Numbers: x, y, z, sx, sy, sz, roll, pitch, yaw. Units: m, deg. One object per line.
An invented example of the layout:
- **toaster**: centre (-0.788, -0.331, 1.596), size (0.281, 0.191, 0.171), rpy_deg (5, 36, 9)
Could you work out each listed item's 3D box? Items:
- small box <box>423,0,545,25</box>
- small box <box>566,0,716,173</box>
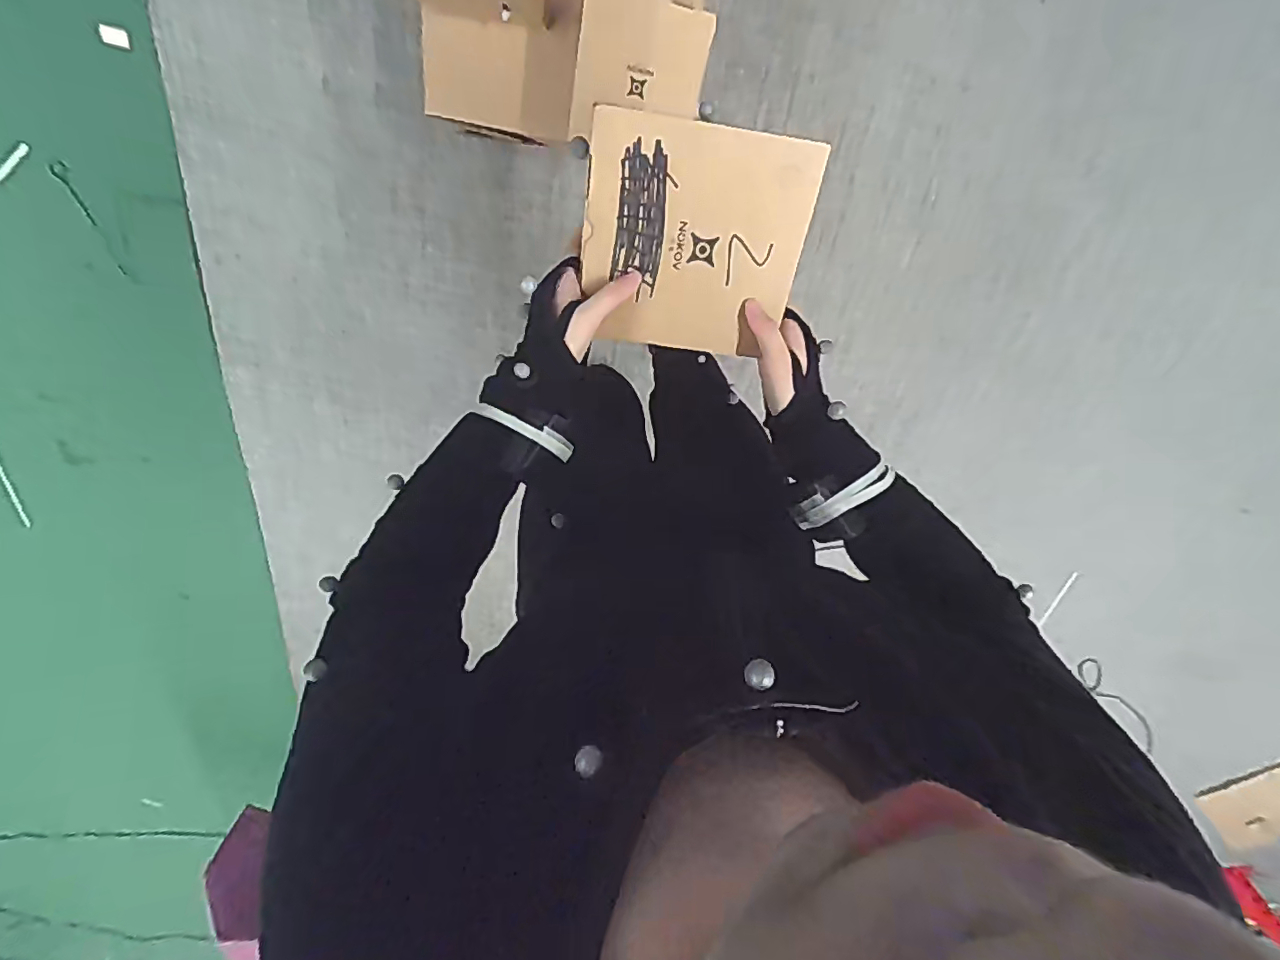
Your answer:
- **small box**: centre (-0.212, -0.711, 0.685), size (0.179, 0.176, 0.168), rpy_deg (7, 117, -4)
- **small box**: centre (-0.006, -0.556, 0.769), size (0.168, 0.176, 0.179), rpy_deg (11, 117, -8)
